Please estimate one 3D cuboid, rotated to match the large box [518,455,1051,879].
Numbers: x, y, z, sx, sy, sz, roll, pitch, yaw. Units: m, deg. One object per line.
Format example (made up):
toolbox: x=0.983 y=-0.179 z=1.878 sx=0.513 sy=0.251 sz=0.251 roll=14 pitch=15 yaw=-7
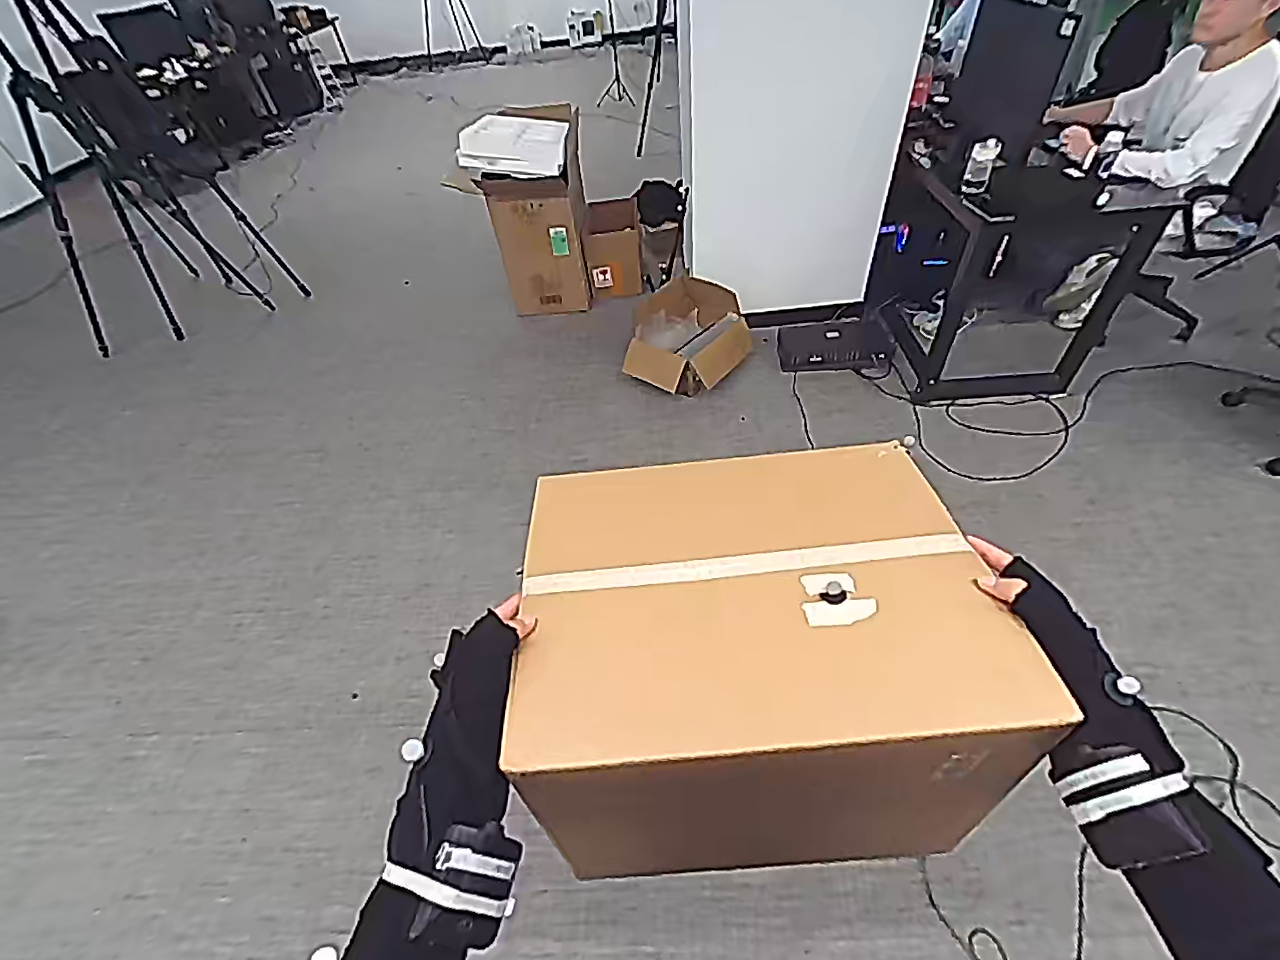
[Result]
large box: x=0.109 y=0.203 z=0.603 sx=0.408 sy=0.320 sz=0.320 roll=-6 pitch=41 yaw=2
